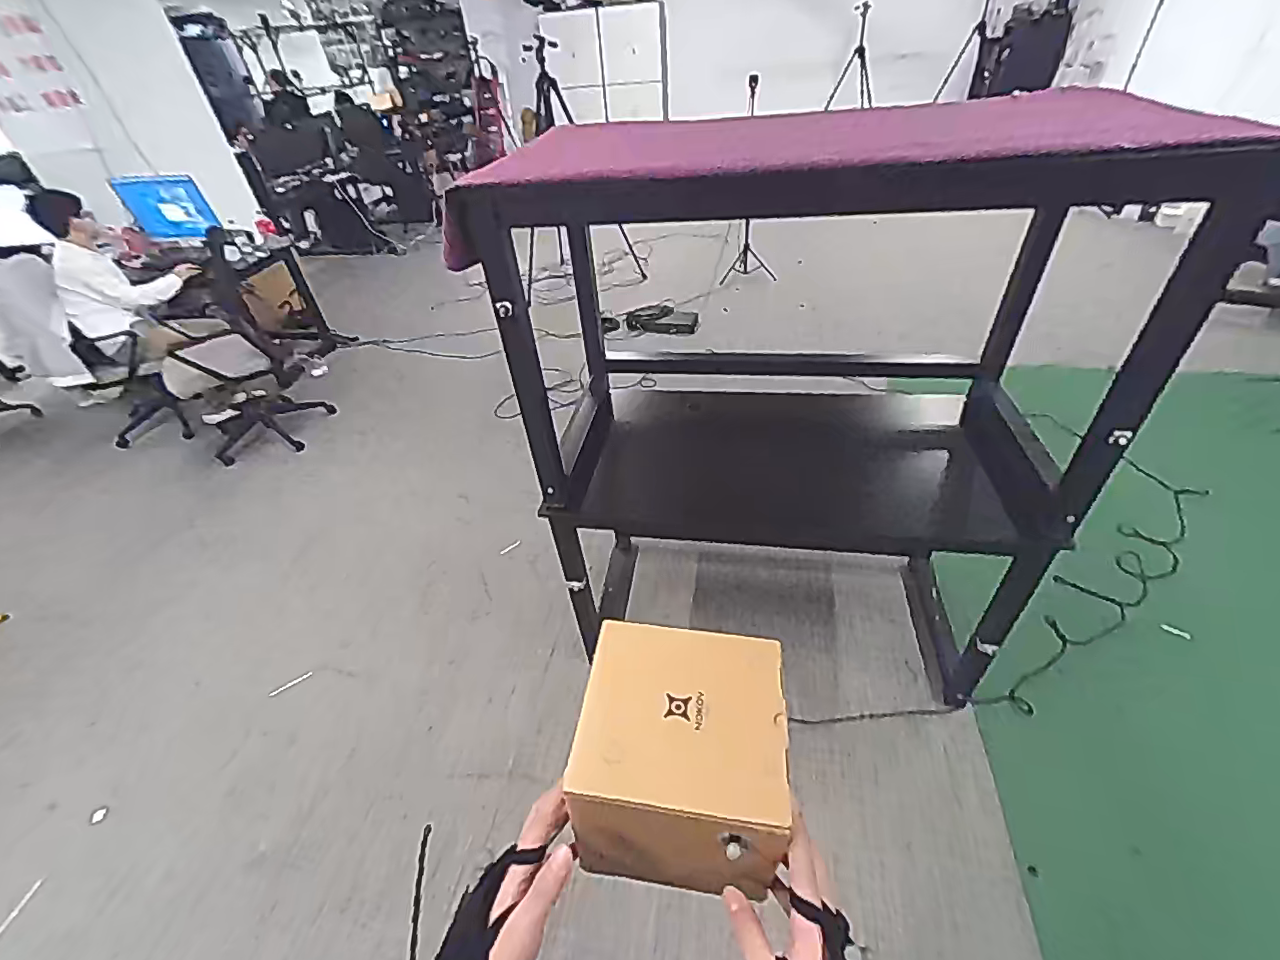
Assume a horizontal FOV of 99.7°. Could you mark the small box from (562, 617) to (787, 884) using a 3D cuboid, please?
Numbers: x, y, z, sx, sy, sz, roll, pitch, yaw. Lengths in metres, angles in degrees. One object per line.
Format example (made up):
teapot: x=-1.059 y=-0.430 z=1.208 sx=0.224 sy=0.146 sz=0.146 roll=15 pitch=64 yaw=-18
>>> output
small box: x=0.038 y=0.256 z=0.519 sx=0.179 sy=0.176 sz=0.168 roll=4 pitch=38 yaw=8
